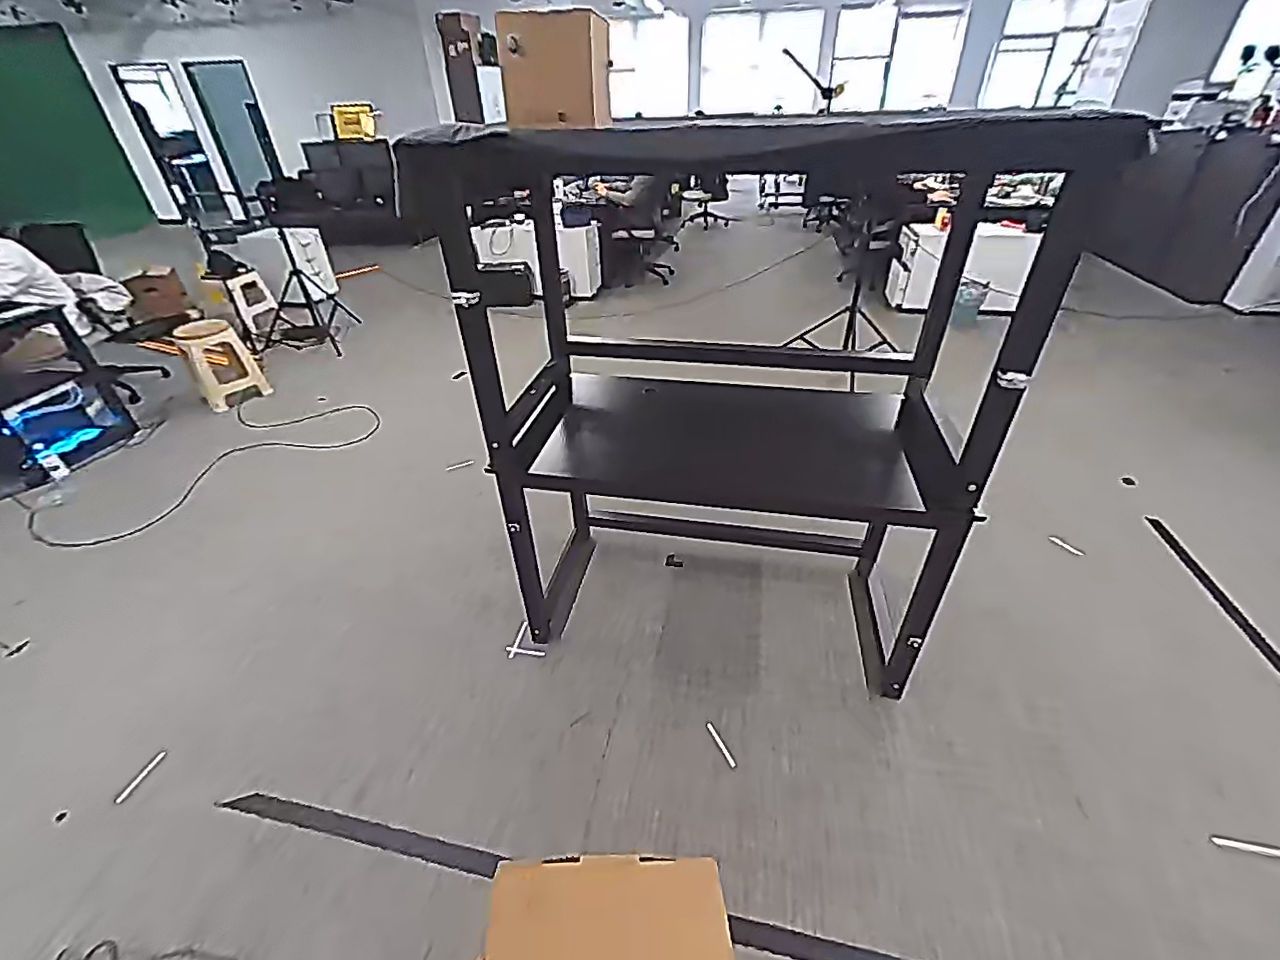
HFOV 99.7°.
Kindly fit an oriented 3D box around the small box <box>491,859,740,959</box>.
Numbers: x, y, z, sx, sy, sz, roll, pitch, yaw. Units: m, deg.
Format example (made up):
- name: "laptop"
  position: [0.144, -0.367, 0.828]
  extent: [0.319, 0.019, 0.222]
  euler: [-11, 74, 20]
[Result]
- name: "small box"
  position: [-0.026, 0.395, 0.370]
  extent: [0.168, 0.176, 0.179]
  euler: [6, 34, -10]
